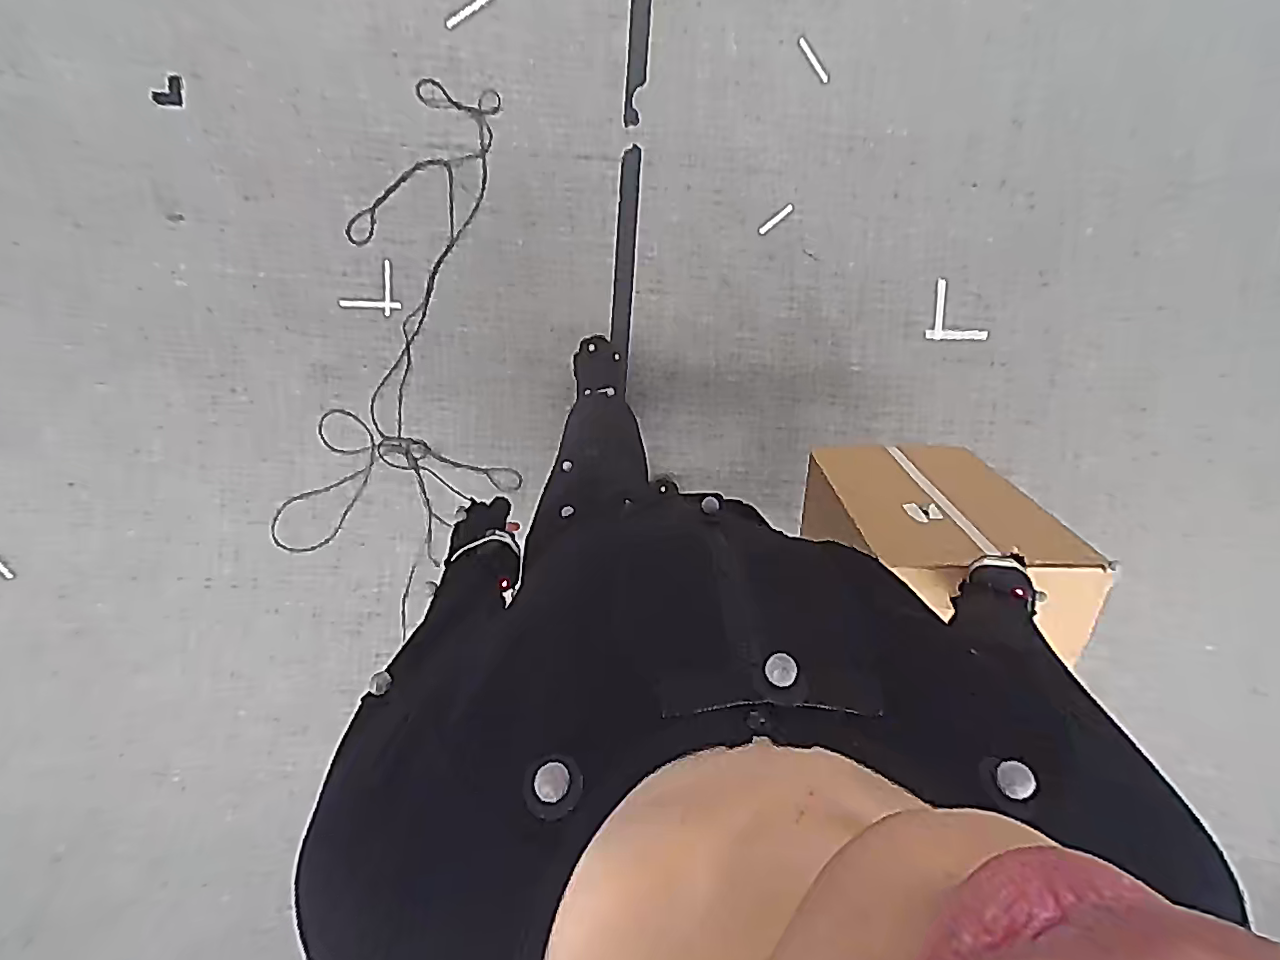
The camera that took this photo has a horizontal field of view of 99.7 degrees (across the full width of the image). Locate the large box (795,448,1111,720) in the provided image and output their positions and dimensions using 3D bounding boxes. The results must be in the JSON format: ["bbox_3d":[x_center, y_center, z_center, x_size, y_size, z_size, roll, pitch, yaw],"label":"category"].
[{"bbox_3d":[0.499,0.164,0.986,0.320,0.408,0.320,-1,118,2],"label":"large box"}]
